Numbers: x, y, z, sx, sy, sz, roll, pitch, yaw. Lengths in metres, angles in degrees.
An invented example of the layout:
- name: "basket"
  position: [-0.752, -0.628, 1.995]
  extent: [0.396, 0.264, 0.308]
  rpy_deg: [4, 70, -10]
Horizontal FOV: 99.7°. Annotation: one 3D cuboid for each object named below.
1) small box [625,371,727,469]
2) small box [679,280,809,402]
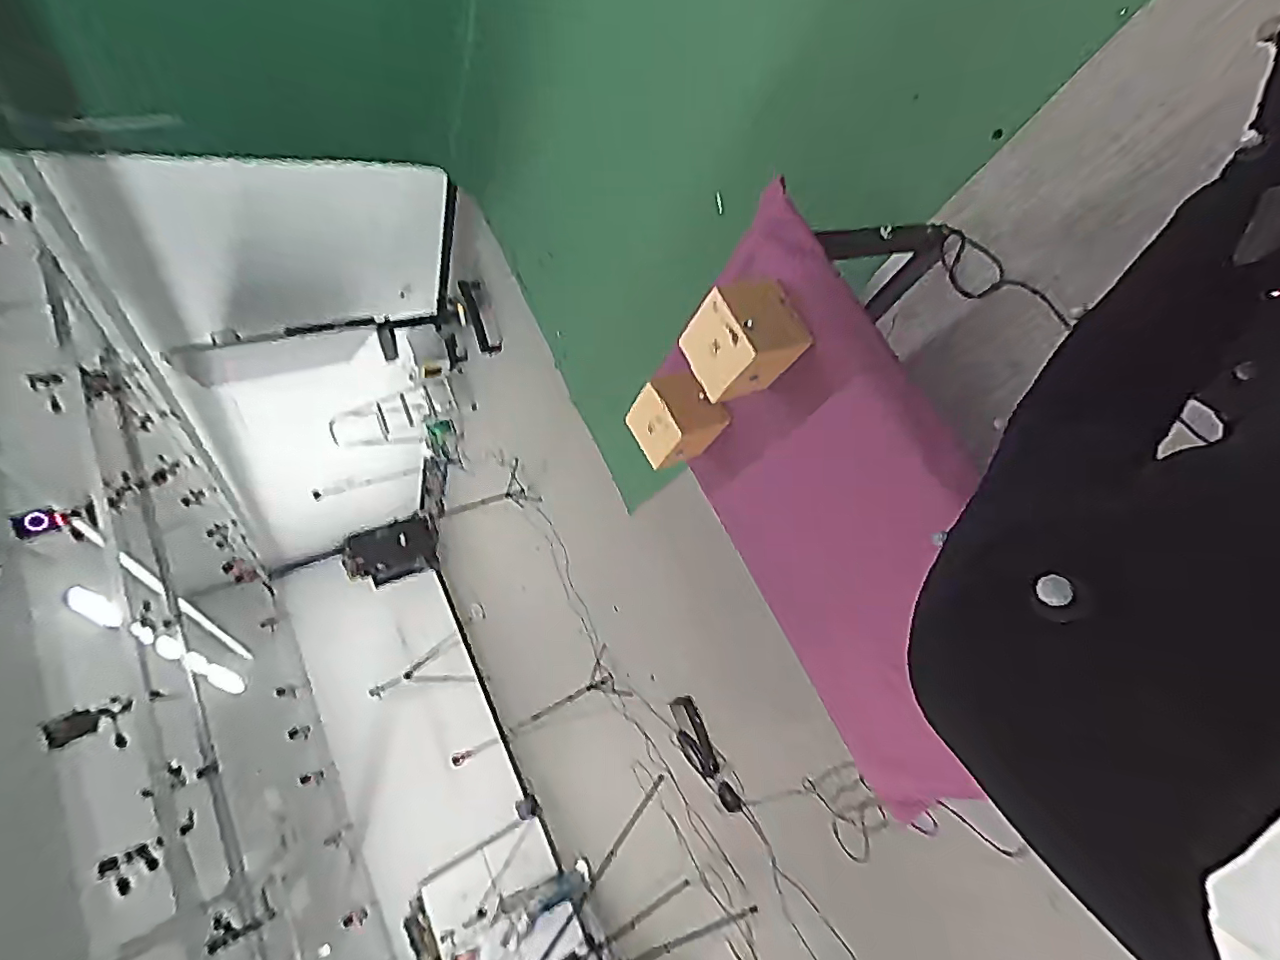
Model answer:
- name: "small box"
  position: [0.093, -0.155, 1.393]
  extent: [0.168, 0.176, 0.179]
  rpy_deg: [59, 146, 14]
- name: "small box"
  position: [0.216, -0.291, 1.131]
  extent: [0.168, 0.176, 0.179]
  rpy_deg: [62, 150, 13]
